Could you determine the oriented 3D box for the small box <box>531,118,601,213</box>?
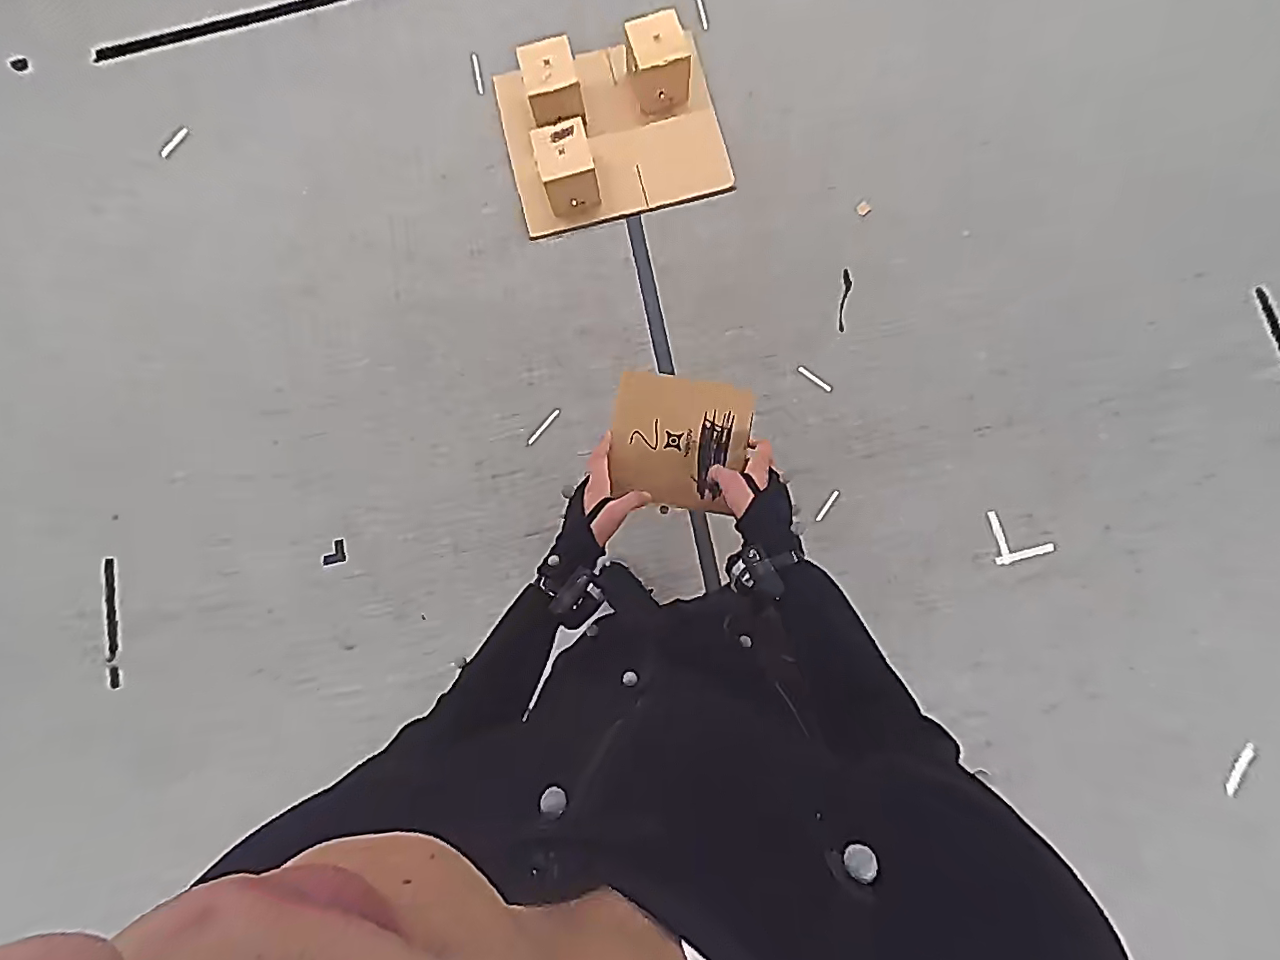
[{"bbox_3d":[-0.228,-0.980,1.694,0.168,0.176,0.179,-15,83,1],"label":"small box"}]

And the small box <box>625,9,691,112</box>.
[{"bbox_3d":[0.057,-1.337,1.732,0.168,0.176,0.179,-18,83,0],"label":"small box"}]

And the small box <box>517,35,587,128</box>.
[{"bbox_3d":[-0.277,-1.258,1.730,0.168,0.176,0.179,-14,83,2],"label":"small box"}]
